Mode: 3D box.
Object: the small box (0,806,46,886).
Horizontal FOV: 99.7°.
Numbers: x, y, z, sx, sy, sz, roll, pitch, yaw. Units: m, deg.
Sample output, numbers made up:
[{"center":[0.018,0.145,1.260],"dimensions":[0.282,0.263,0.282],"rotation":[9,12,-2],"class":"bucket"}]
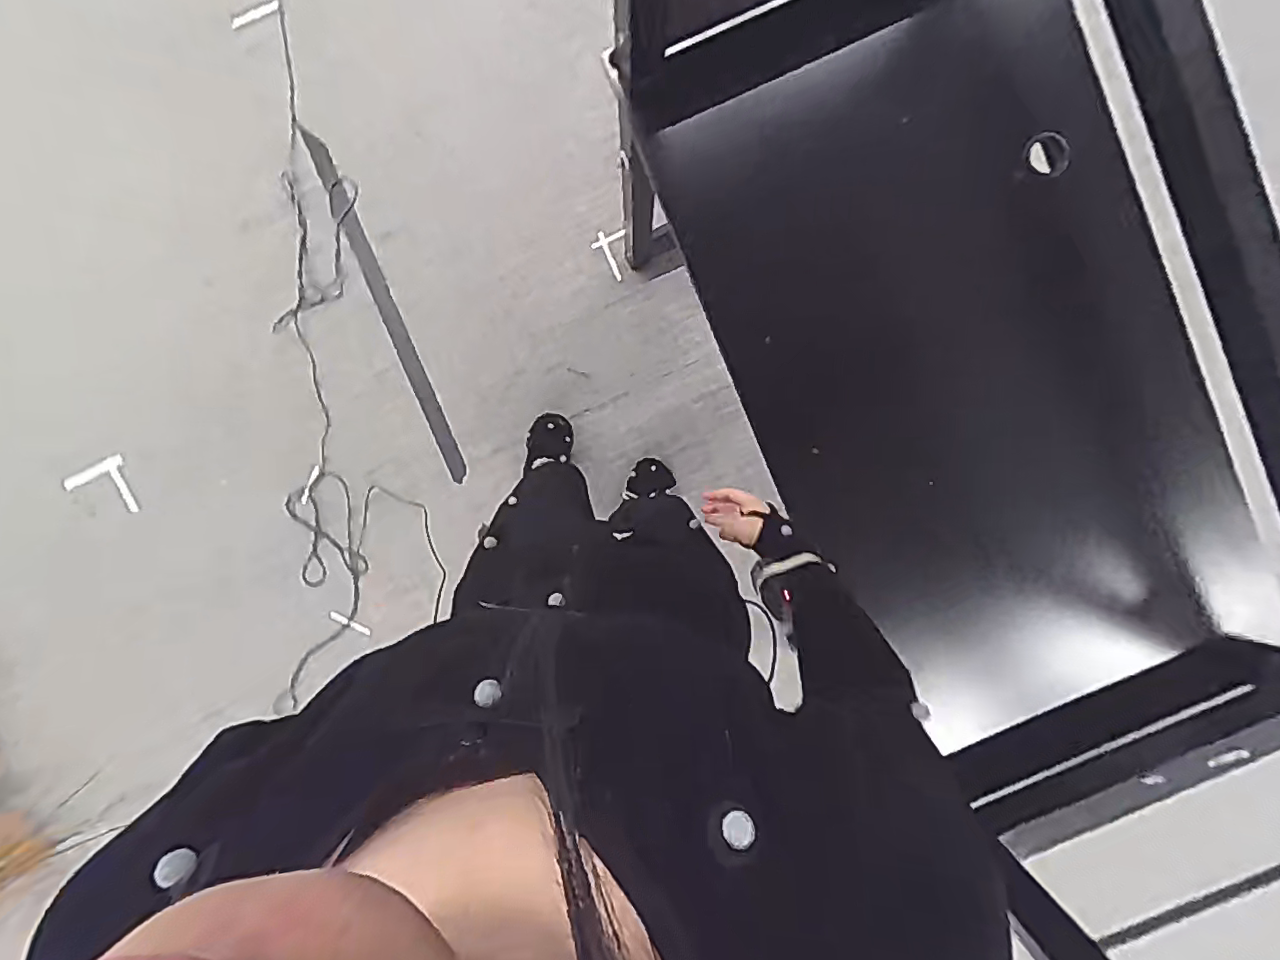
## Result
[{"center":[-1.779,1.026,1.442],"dimensions":[0.168,0.176,0.179],"rotation":[-35,95,1],"class":"small box"}]
